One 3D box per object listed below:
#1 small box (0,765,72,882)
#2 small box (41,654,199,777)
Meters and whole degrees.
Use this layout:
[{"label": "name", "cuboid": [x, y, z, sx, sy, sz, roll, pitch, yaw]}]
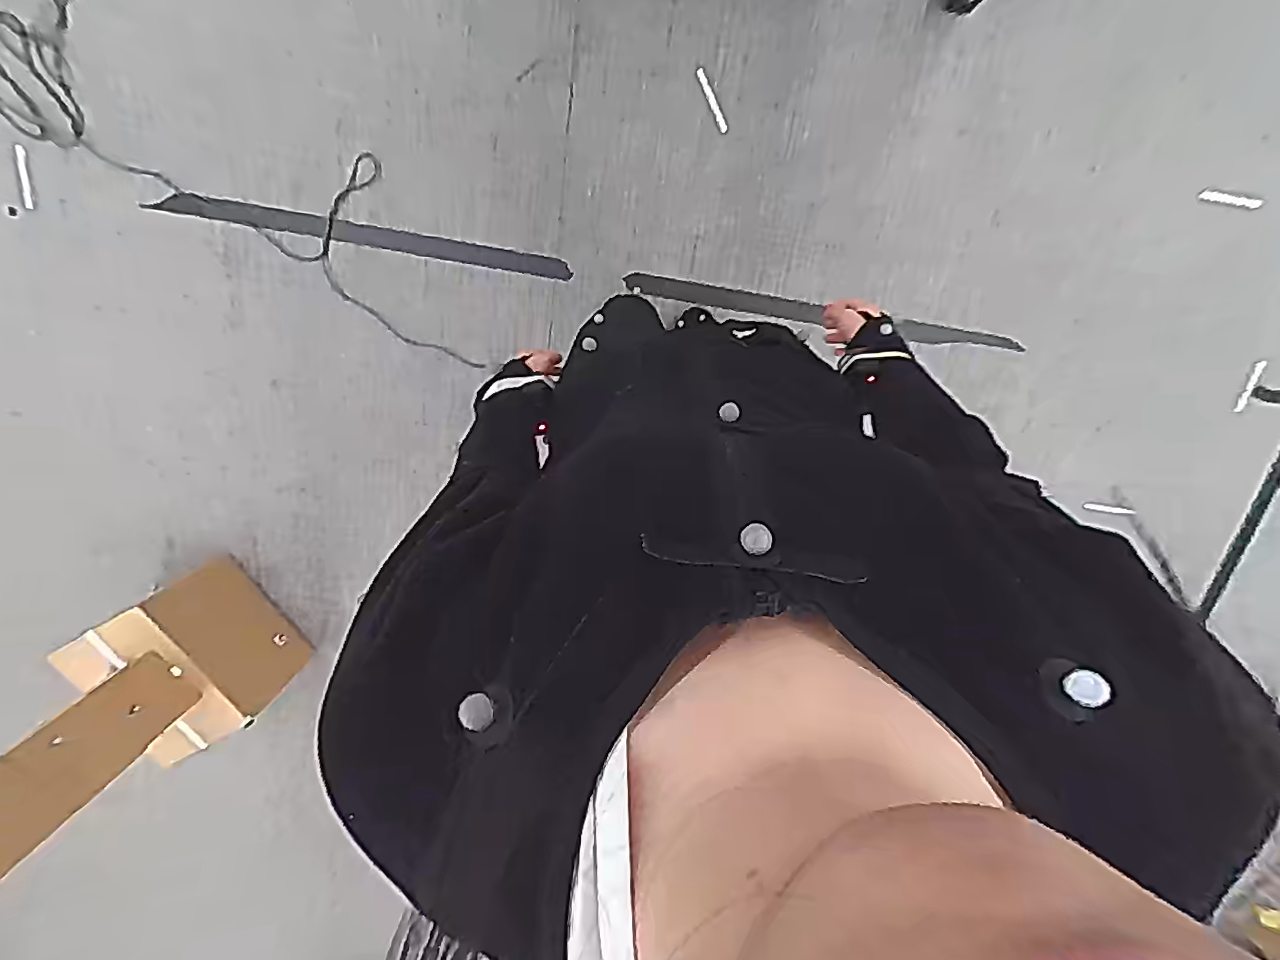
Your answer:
[{"label": "small box", "cuboid": [-1.223, 0.653, 0.978, 0.168, 0.176, 0.179, -30, 105, 9]}, {"label": "small box", "cuboid": [-1.227, 0.555, 1.293, 0.168, 0.176, 0.179, -31, 104, 8]}]
